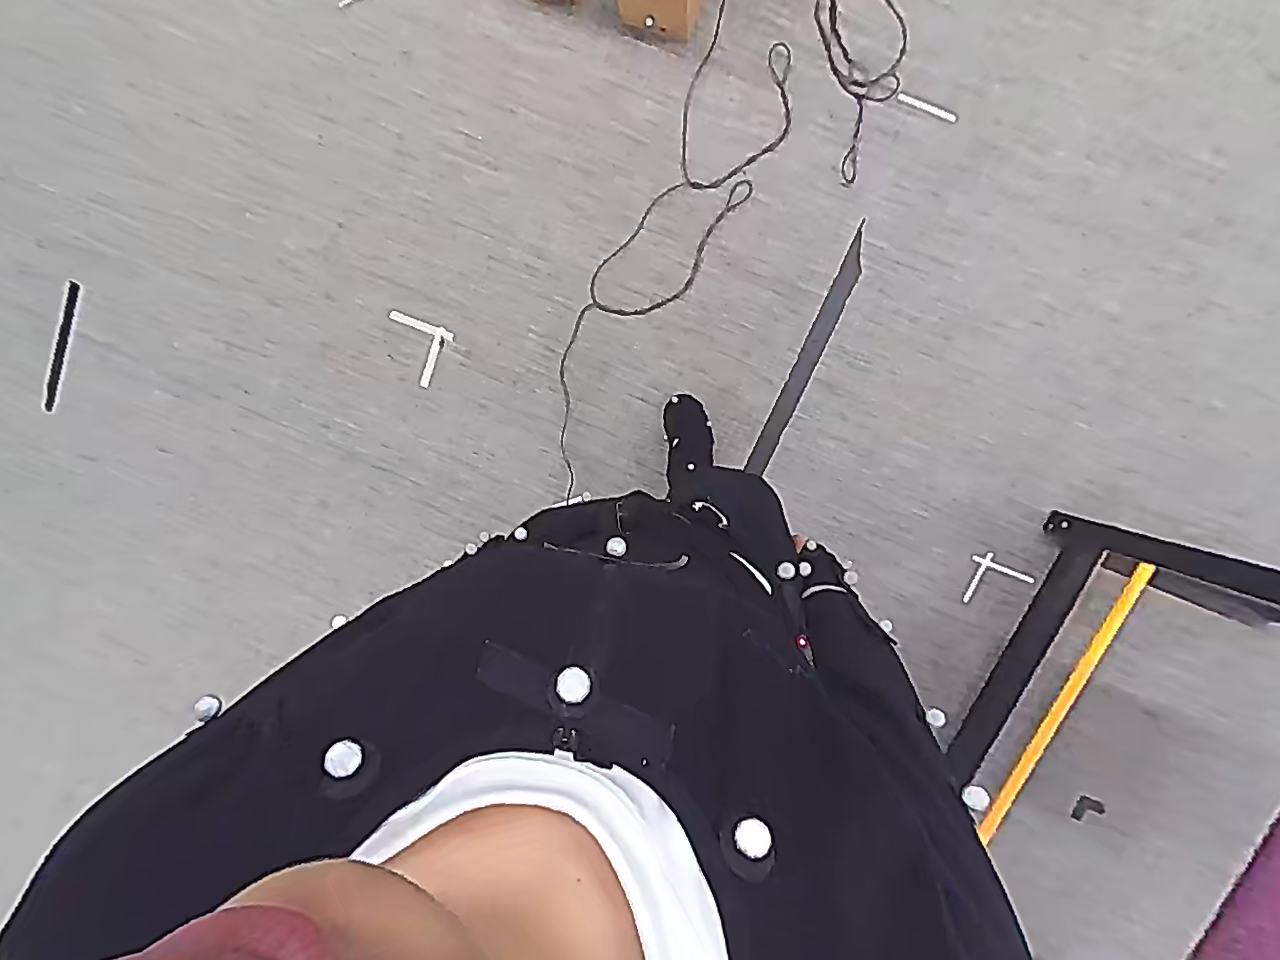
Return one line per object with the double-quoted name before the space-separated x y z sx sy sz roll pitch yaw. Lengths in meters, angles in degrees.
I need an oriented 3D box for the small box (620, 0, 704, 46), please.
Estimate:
"small box" 0.053 -1.079 1.138 0.168 0.176 0.179 20 99 4
